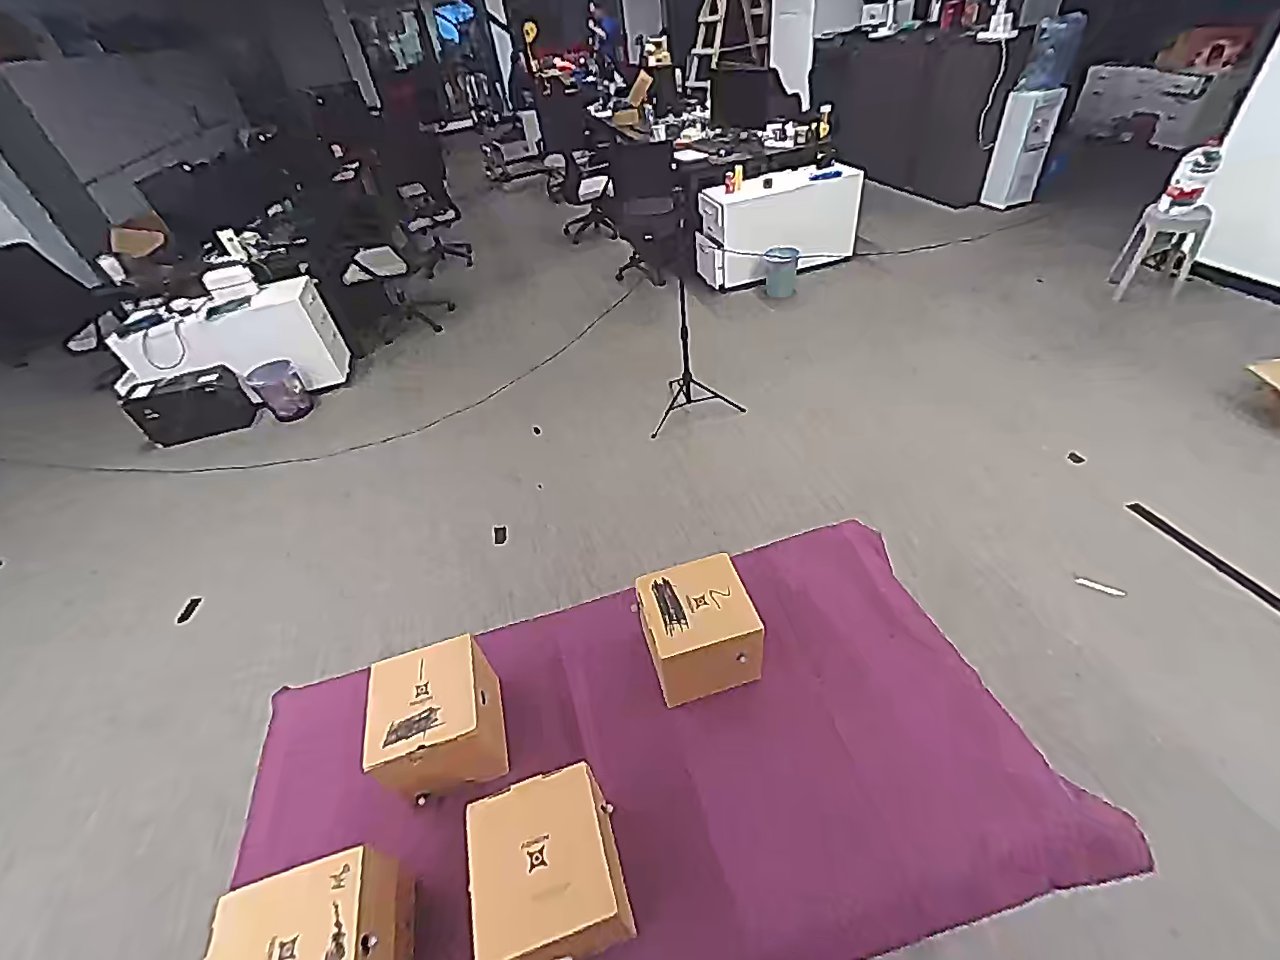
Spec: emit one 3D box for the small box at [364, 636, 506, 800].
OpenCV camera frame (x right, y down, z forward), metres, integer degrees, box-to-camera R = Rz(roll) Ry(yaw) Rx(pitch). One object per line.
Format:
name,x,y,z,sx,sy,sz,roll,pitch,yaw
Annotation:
small box,-0.328,0.396,0.888,0.168,0.176,0.179,-16,42,-8

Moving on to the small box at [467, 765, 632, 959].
small box,-0.118,0.519,0.714,0.168,0.176,0.179,-17,44,-8

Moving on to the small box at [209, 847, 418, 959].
small box,-0.400,0.598,0.671,0.179,0.176,0.168,-16,42,-7
